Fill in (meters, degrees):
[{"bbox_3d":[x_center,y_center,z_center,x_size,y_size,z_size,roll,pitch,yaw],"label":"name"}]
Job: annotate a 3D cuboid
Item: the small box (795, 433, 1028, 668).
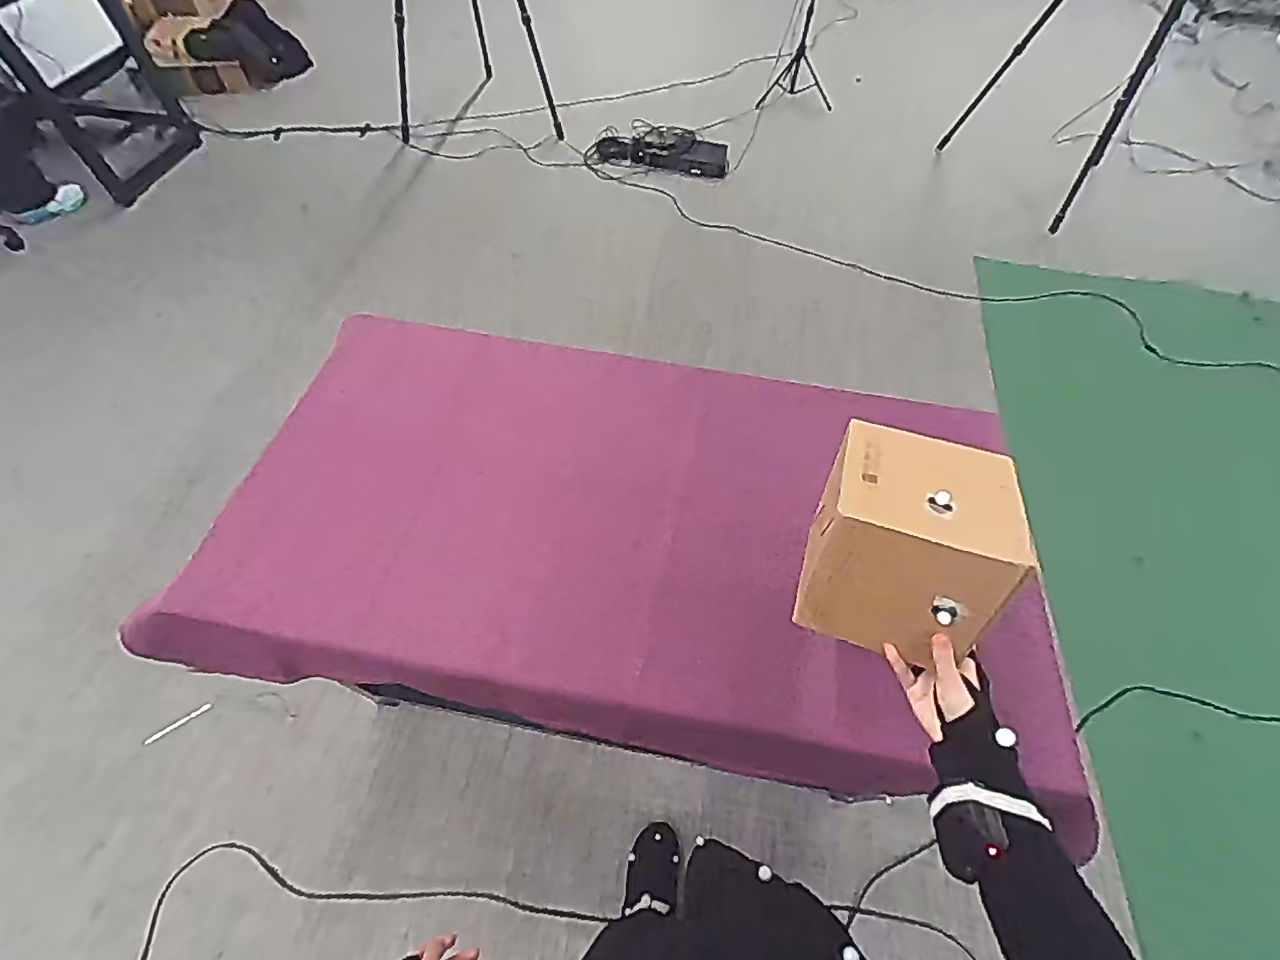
[{"bbox_3d":[0.274,0.064,0.584,0.176,0.179,0.168,16,41,16],"label":"small box"}]
